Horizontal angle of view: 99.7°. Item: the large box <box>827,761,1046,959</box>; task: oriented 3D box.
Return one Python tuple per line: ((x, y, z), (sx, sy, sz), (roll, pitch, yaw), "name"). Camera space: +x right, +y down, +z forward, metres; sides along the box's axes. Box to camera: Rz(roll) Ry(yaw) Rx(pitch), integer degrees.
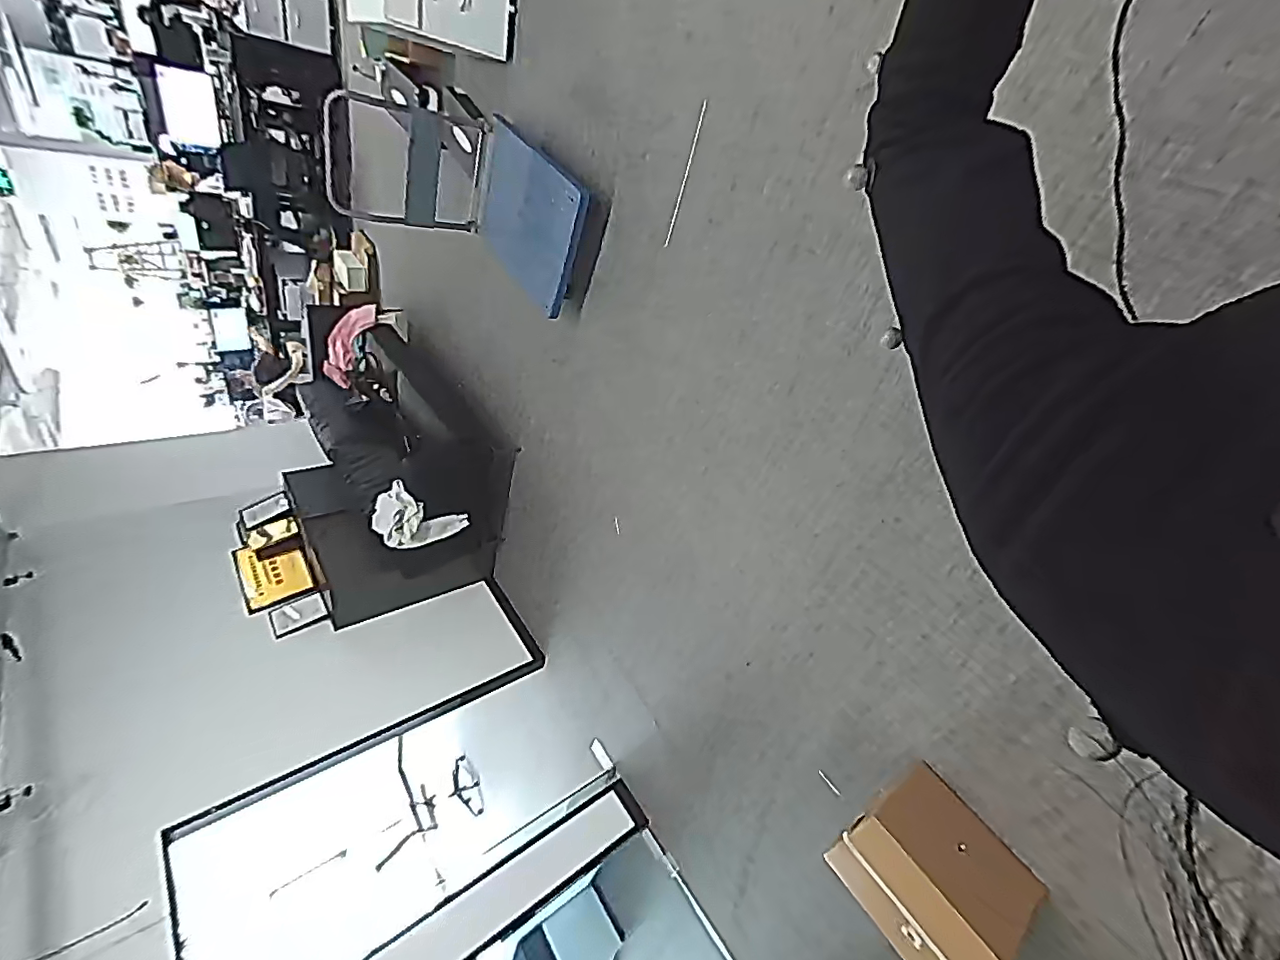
((0.847, 1.131, 1.573), (0.408, 0.320, 0.320), (45, 133, 31), "large box")
